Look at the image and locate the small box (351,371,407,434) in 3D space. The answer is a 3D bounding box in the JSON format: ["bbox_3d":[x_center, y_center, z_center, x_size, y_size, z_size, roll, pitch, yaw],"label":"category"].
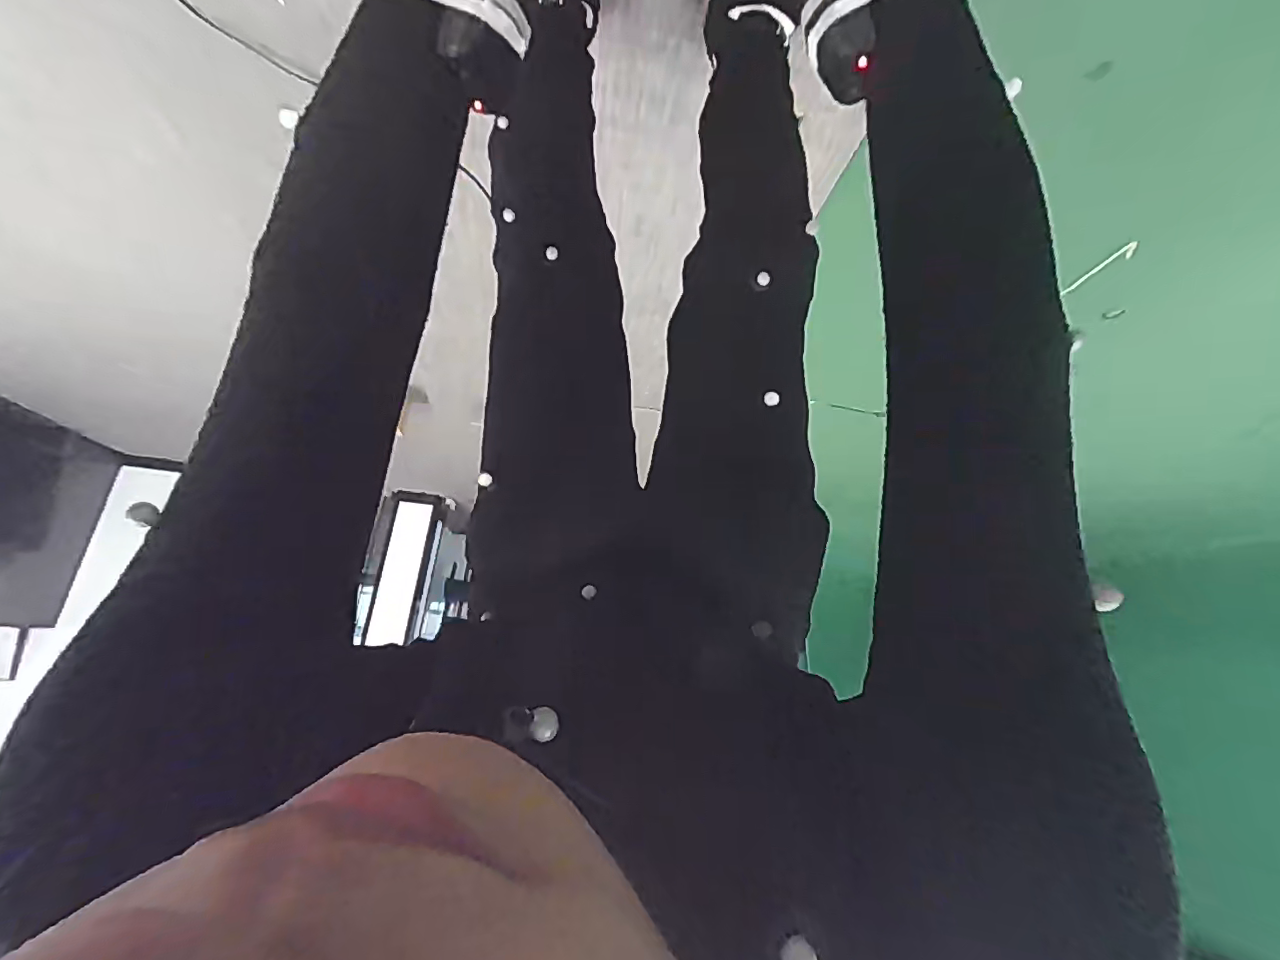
[{"bbox_3d":[-1.024,-0.304,2.131,0.168,0.176,0.179,10,161,-19],"label":"small box"}]
